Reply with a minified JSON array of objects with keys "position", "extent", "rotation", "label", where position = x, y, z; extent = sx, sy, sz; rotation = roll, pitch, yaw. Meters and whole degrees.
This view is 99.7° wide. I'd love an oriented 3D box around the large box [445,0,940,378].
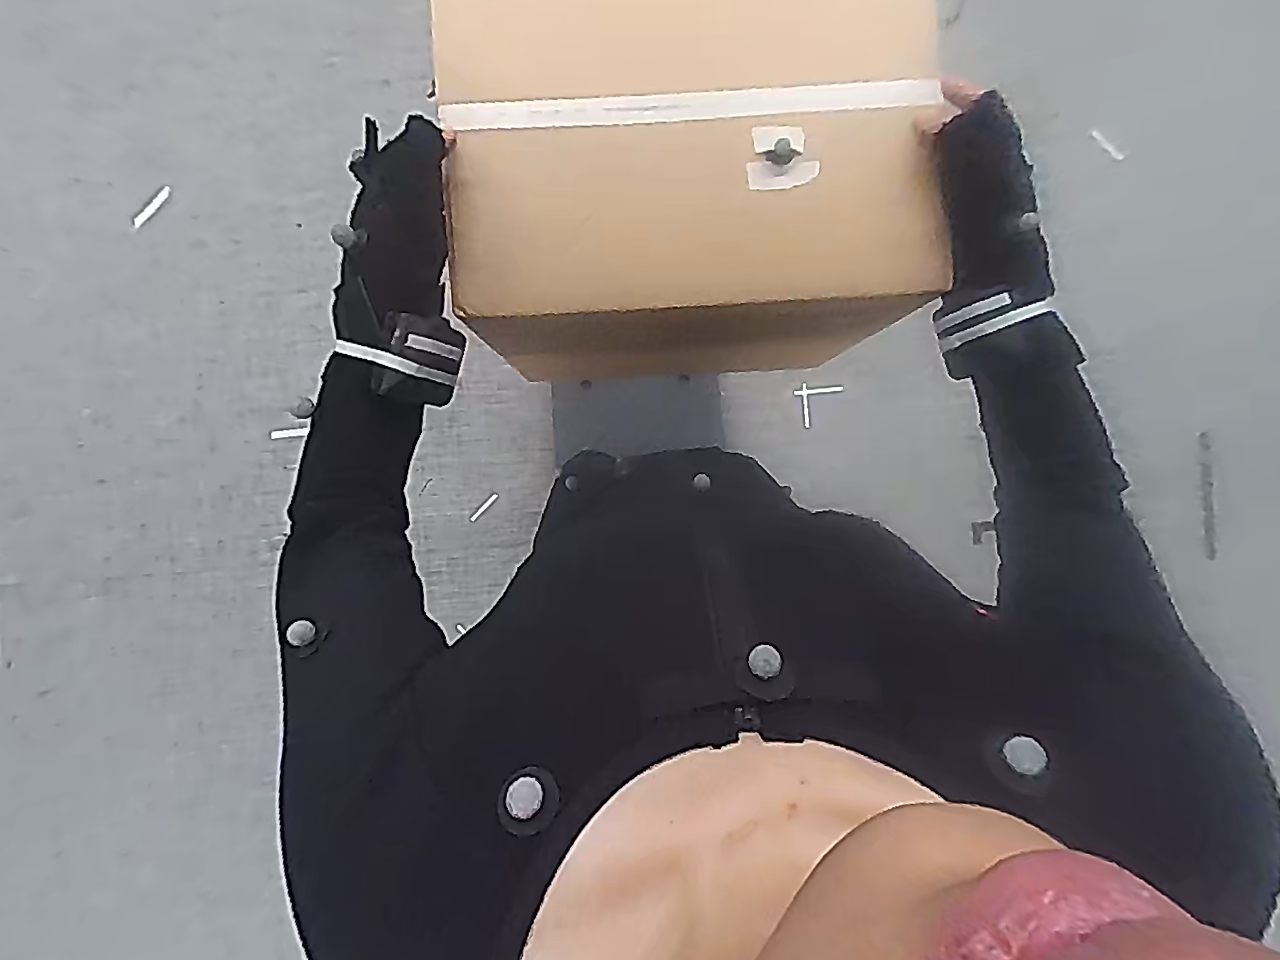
[{"position":[0.039,-0.306,0.598],"extent":[0.408,0.320,0.320],"rotation":[-4,91,-2],"label":"large box"}]
